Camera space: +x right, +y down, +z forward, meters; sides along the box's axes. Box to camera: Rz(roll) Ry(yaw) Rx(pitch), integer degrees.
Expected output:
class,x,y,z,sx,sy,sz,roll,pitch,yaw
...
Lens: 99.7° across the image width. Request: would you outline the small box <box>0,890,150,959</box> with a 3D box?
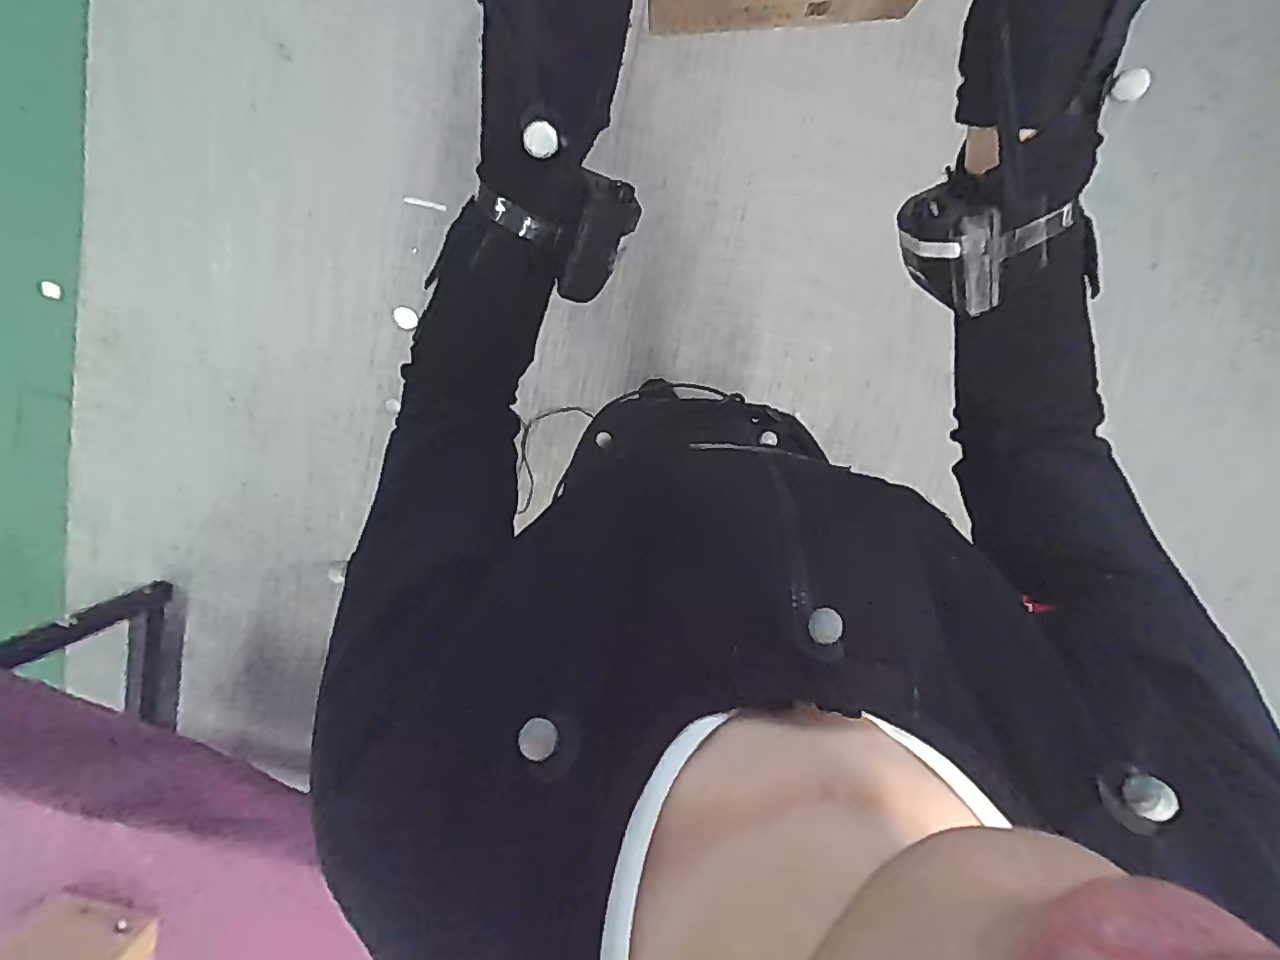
class,x,y,z,sx,sy,sz,roll,pitch,yaw
small box,-0.889,0.768,0.806,0.168,0.176,0.179,16,100,-1
